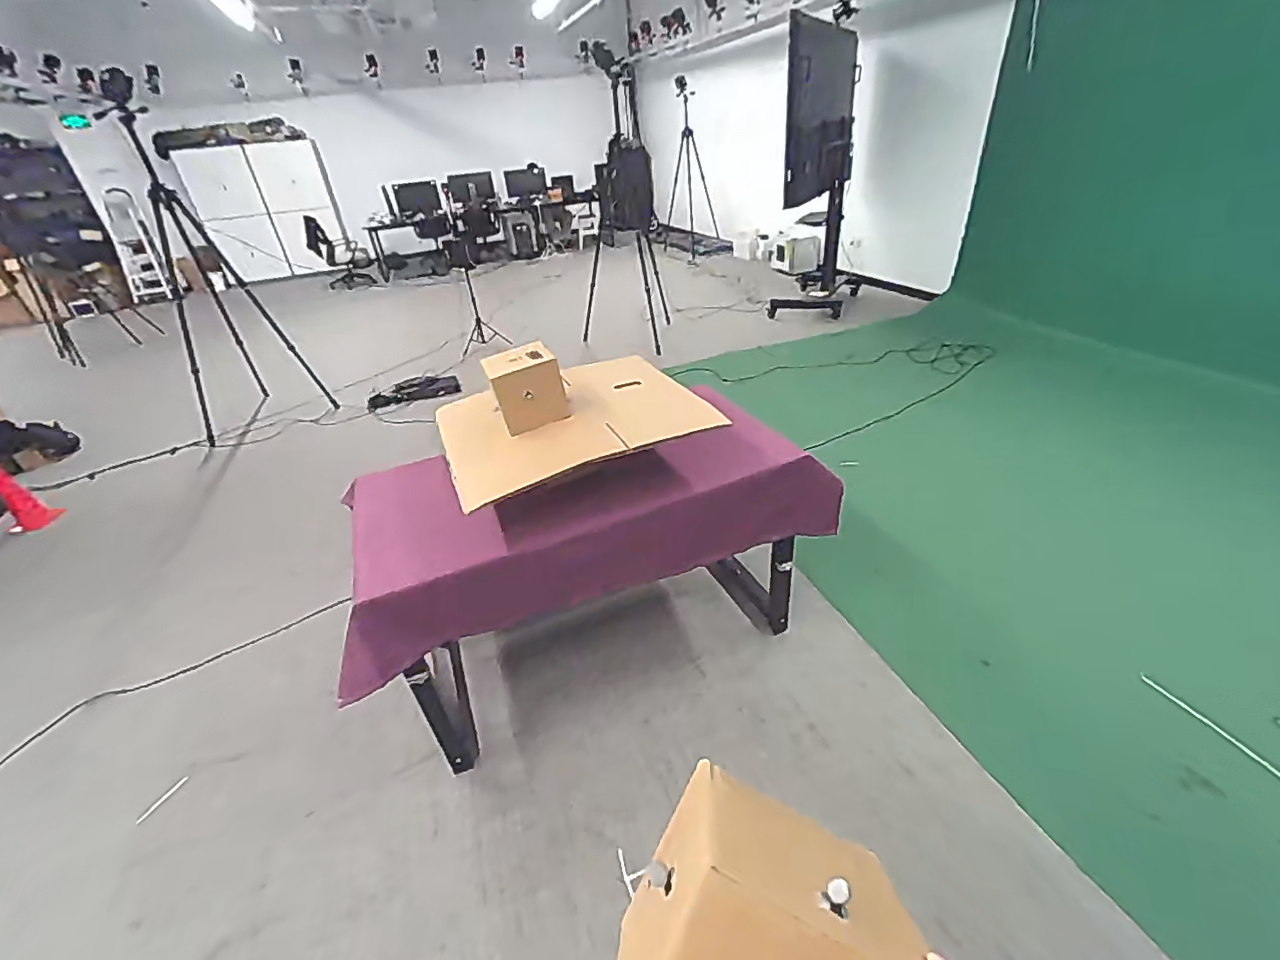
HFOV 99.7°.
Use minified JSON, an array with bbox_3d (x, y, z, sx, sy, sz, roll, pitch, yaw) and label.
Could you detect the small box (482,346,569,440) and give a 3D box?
[{"bbox_3d":[-0.303,-0.234,1.457,0.179,0.176,0.168,-23,36,-12],"label":"small box"}]
